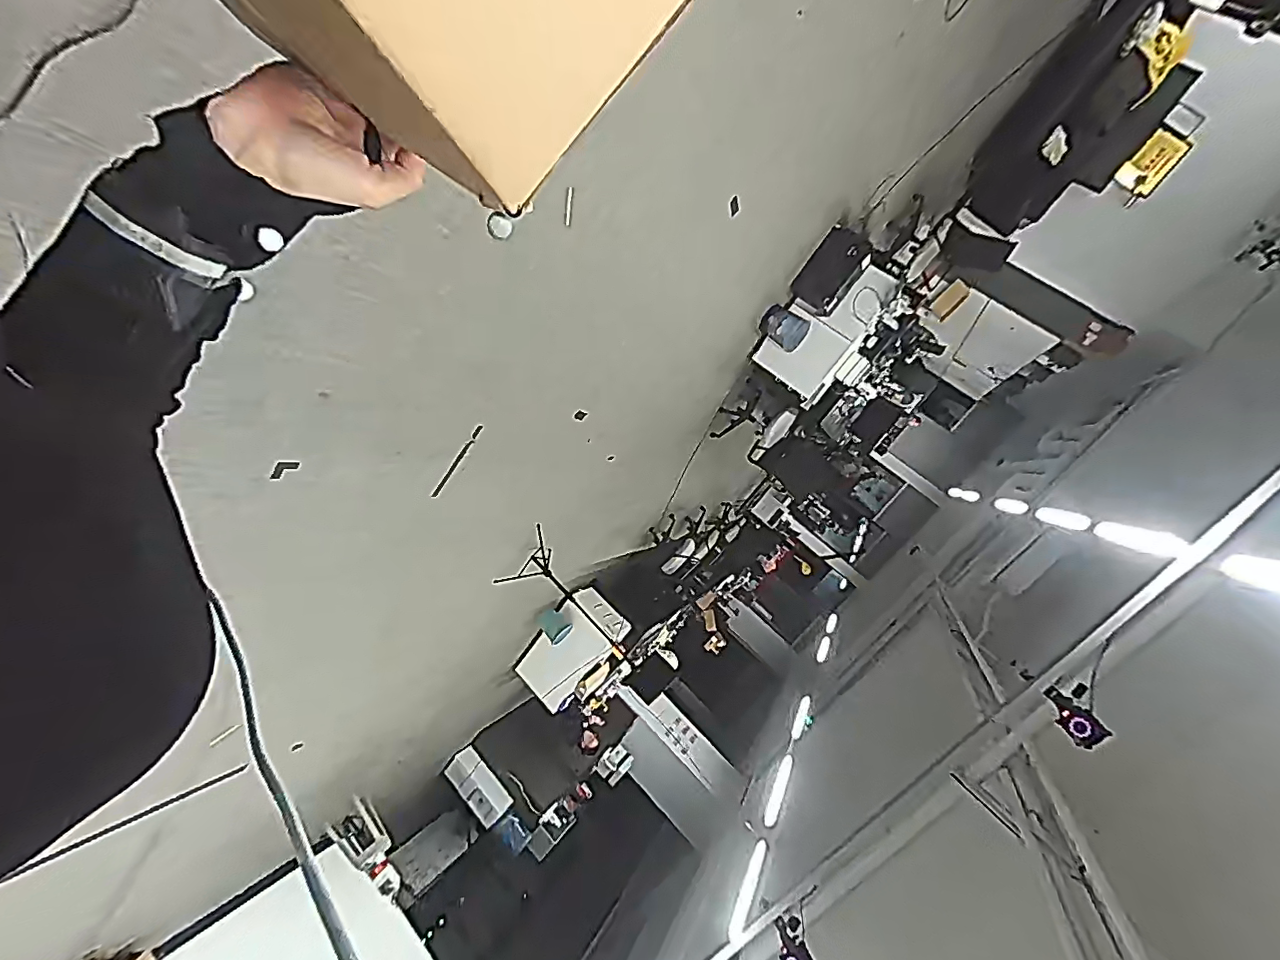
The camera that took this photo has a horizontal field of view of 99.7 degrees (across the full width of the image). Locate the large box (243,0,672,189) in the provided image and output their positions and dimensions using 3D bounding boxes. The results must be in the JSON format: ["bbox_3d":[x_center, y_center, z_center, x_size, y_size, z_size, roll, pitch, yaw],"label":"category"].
[{"bbox_3d":[-0.125,-0.375,0.106,0.320,0.320,0.408,-48,158,5],"label":"large box"}]
